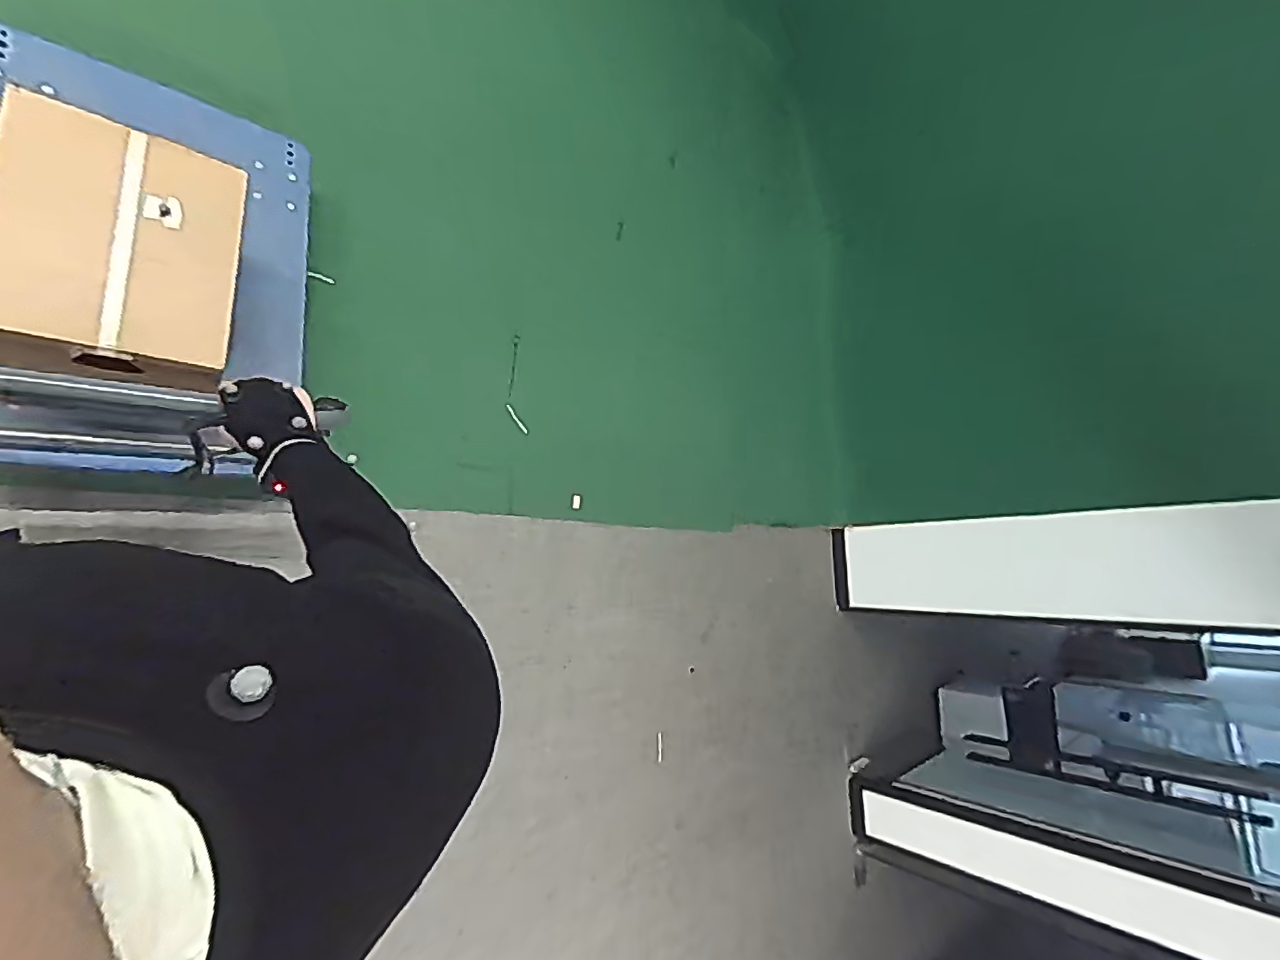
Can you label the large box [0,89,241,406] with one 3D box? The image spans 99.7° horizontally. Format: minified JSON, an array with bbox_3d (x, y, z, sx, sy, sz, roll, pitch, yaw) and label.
[{"bbox_3d":[-0.976,-0.387,1.025,0.320,0.320,0.408,8,77,-41],"label":"large box"}]
